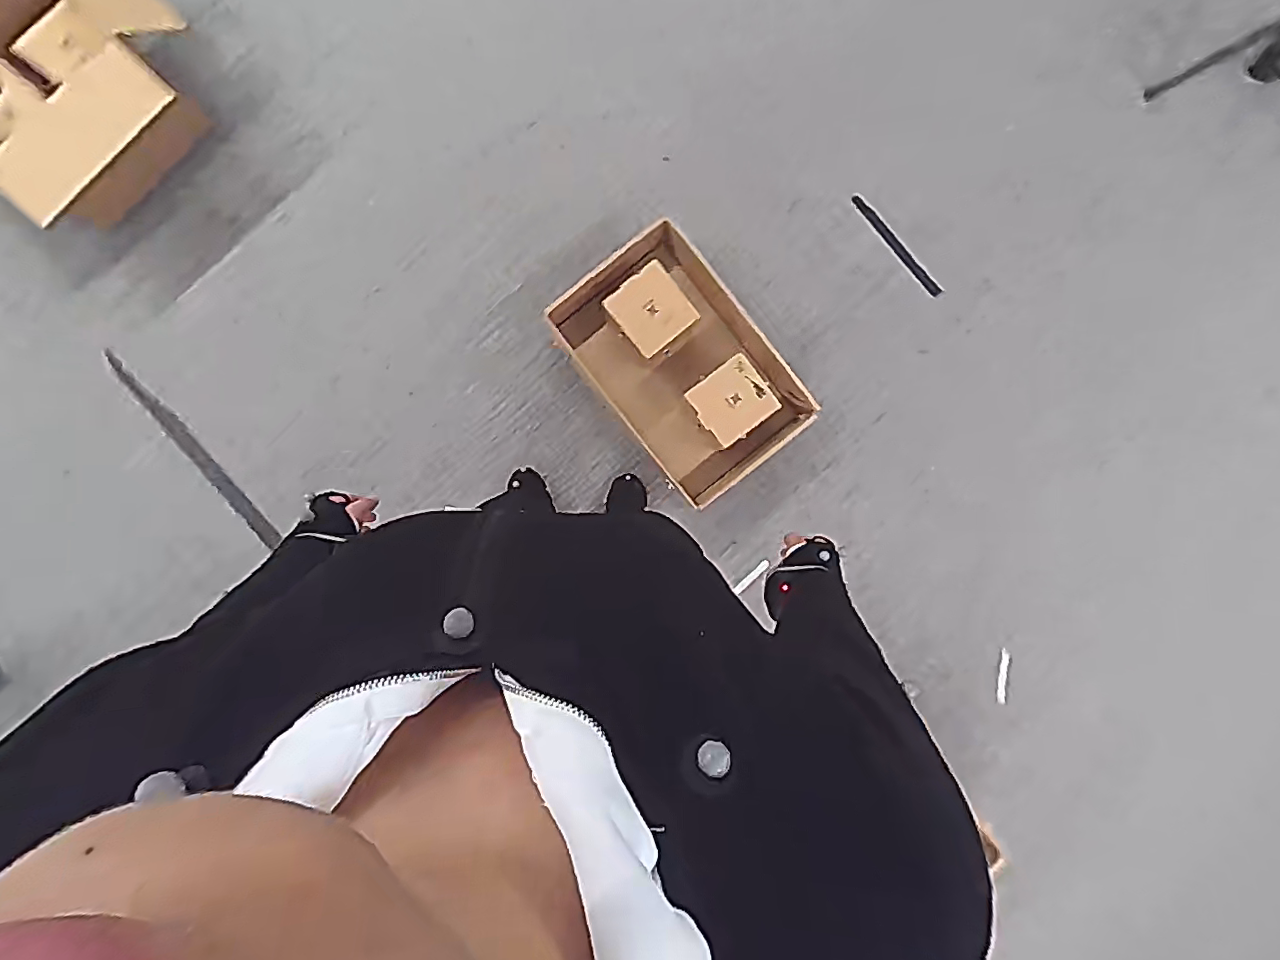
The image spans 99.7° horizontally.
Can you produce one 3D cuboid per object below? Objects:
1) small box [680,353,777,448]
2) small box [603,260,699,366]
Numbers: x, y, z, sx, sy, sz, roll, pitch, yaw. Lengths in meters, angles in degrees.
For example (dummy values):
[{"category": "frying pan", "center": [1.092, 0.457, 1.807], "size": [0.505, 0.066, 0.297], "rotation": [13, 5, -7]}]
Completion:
[{"category": "small box", "center": [0.215, -0.192, 1.371], "size": [0.179, 0.176, 0.168], "rotation": [-36, 91, 1]}, {"category": "small box", "center": [0.022, -0.408, 1.360], "size": [0.168, 0.176, 0.179], "rotation": [-38, 94, 1]}]
